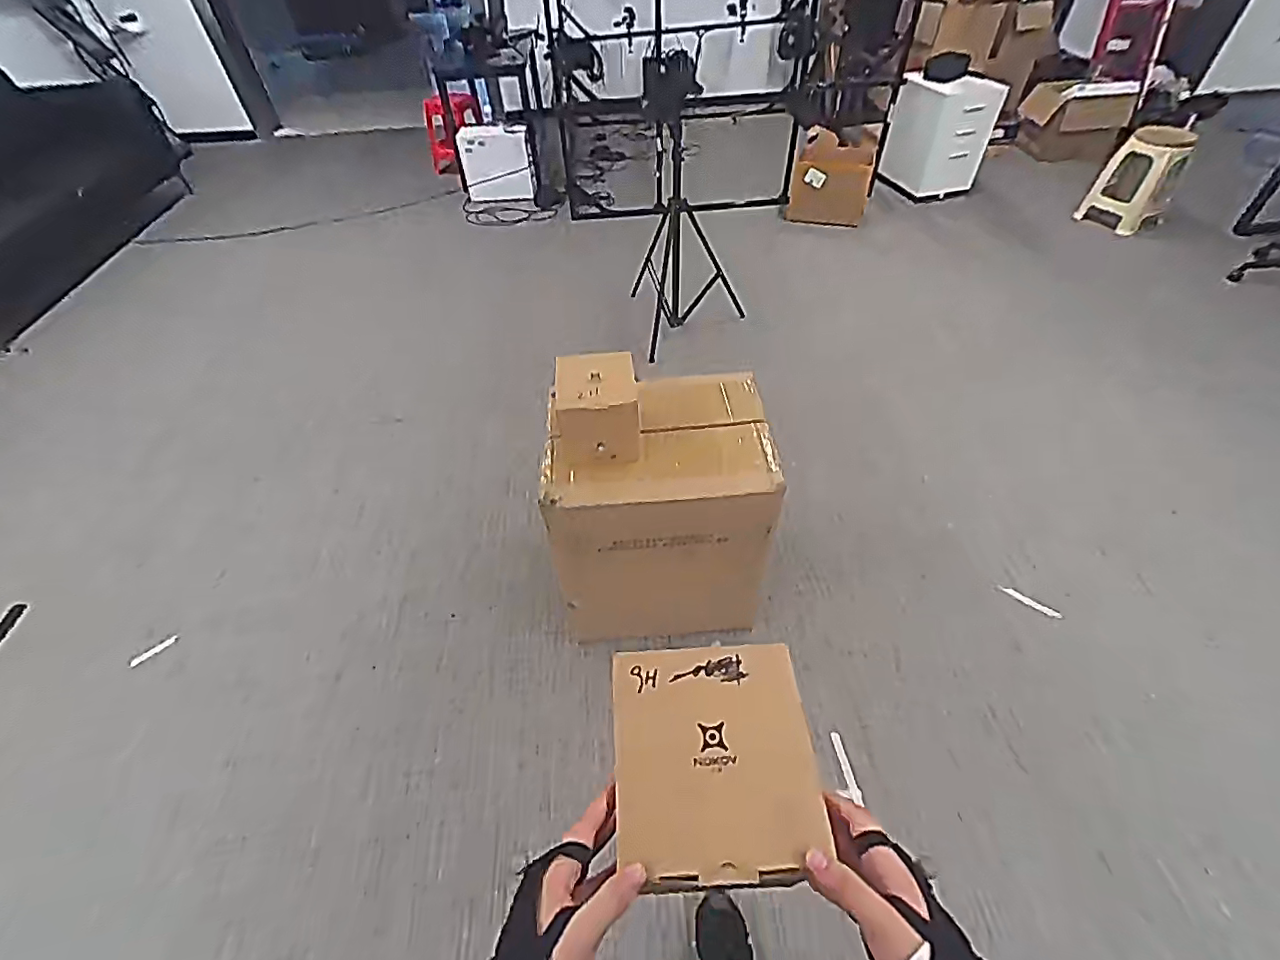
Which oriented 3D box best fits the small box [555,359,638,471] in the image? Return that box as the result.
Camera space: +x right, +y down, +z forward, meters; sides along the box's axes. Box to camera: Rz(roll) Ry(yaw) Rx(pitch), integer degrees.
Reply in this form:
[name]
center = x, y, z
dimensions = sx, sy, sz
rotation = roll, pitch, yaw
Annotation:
[small box]
center = -0.093, -0.142, 1.186
dimensions = 0.168, 0.176, 0.179
rotation = -6, 49, -2
